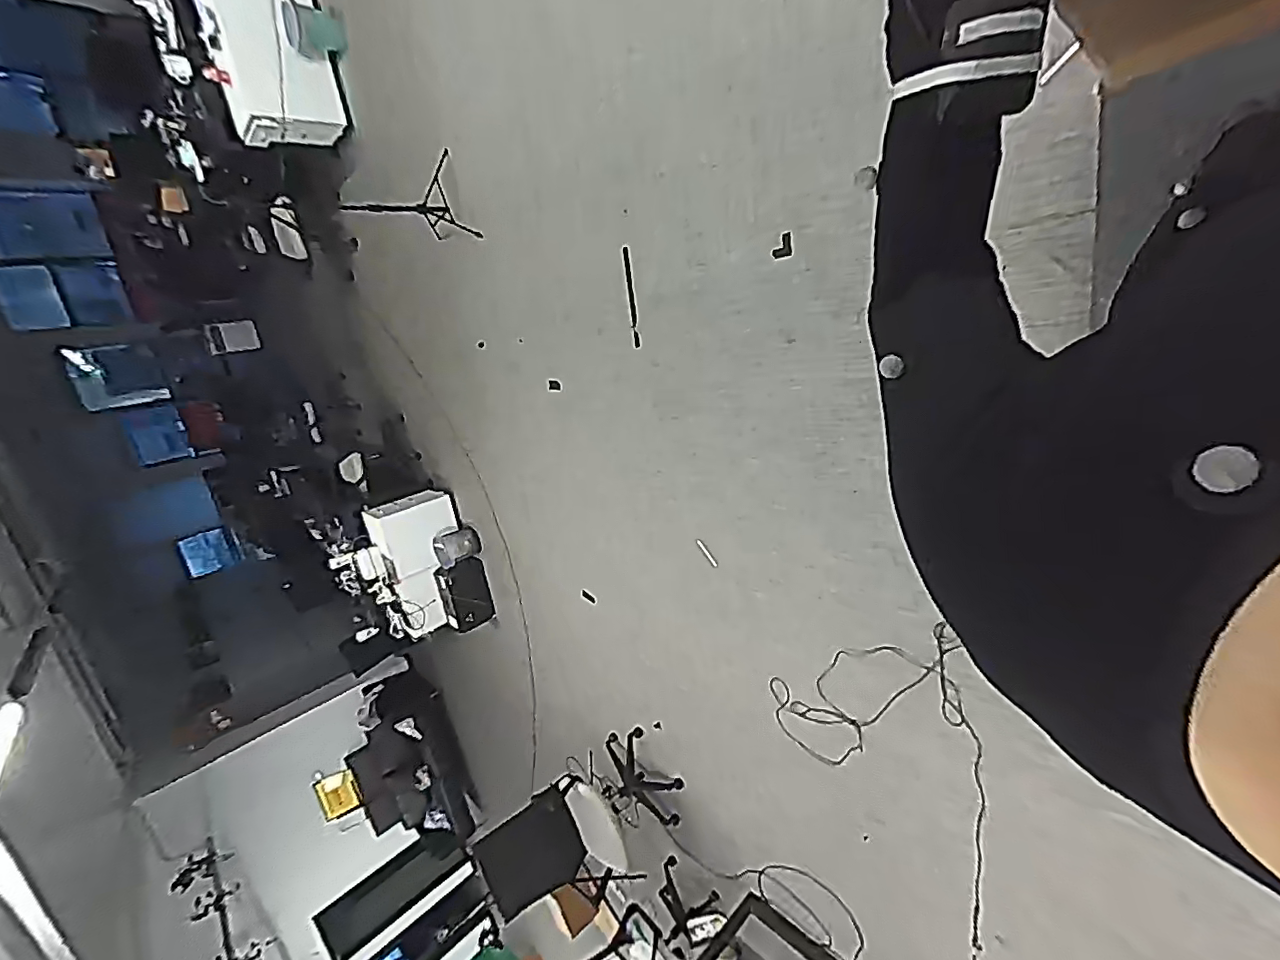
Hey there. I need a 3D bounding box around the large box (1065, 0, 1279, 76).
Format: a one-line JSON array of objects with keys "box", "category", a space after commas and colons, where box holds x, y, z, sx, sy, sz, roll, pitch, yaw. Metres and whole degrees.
[{"box": [0.439, -0.491, 0.244, 0.408, 0.320, 0.320, 2, 103, 49], "category": "large box"}]
